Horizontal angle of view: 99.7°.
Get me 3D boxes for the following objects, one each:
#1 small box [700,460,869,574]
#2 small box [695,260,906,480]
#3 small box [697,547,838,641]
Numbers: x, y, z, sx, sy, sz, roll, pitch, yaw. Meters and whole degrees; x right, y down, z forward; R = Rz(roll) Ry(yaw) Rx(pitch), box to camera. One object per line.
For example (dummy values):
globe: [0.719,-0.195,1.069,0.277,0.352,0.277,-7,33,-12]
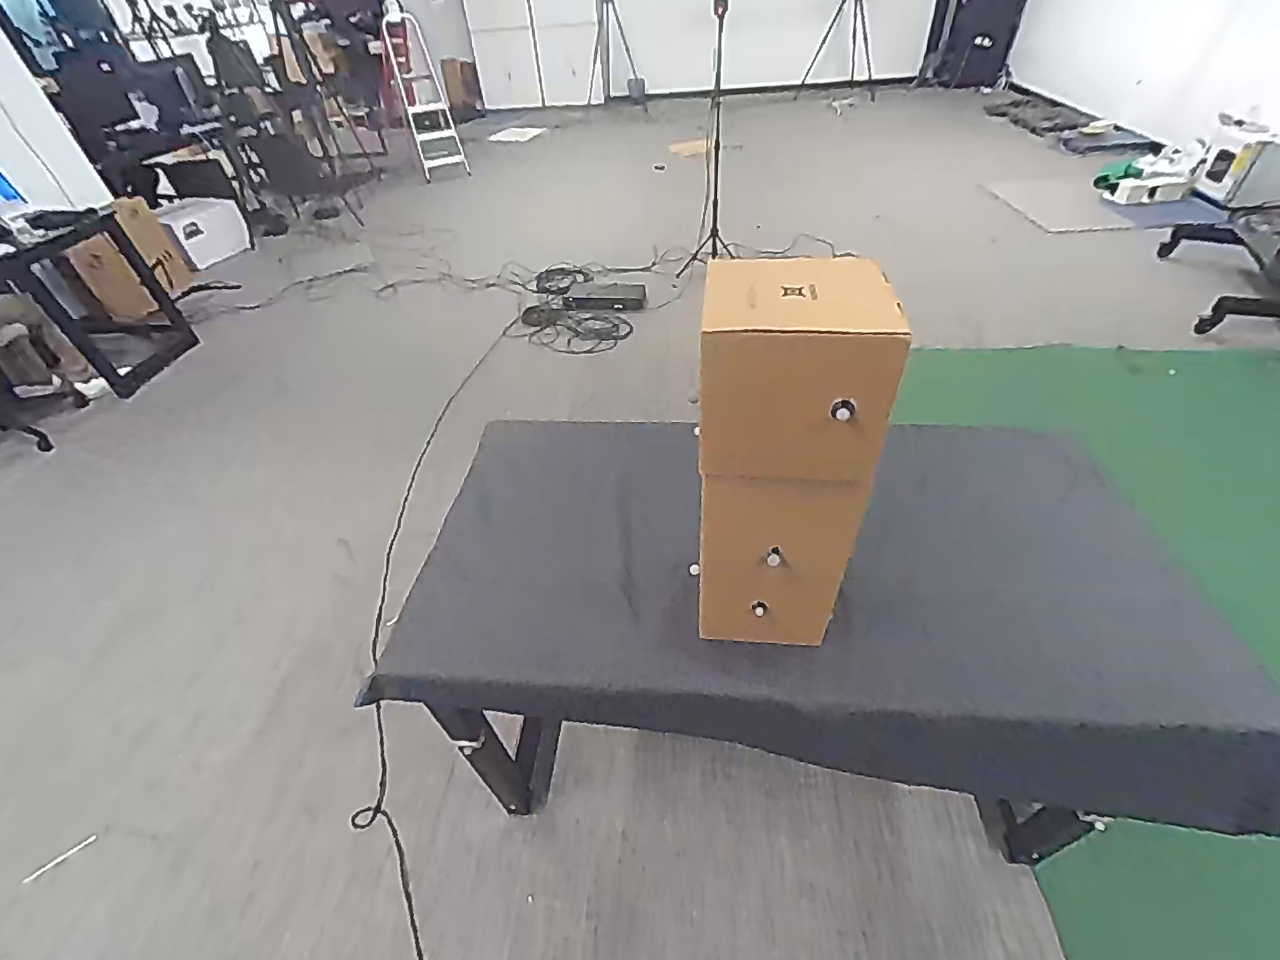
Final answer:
small box: [0.165,0.005,0.680,0.179,0.176,0.168,0,44,6]
small box: [0.151,-0.113,0.566,0.179,0.176,0.168,1,42,9]
small box: [0.176,0.120,0.792,0.179,0.176,0.168,1,43,8]
